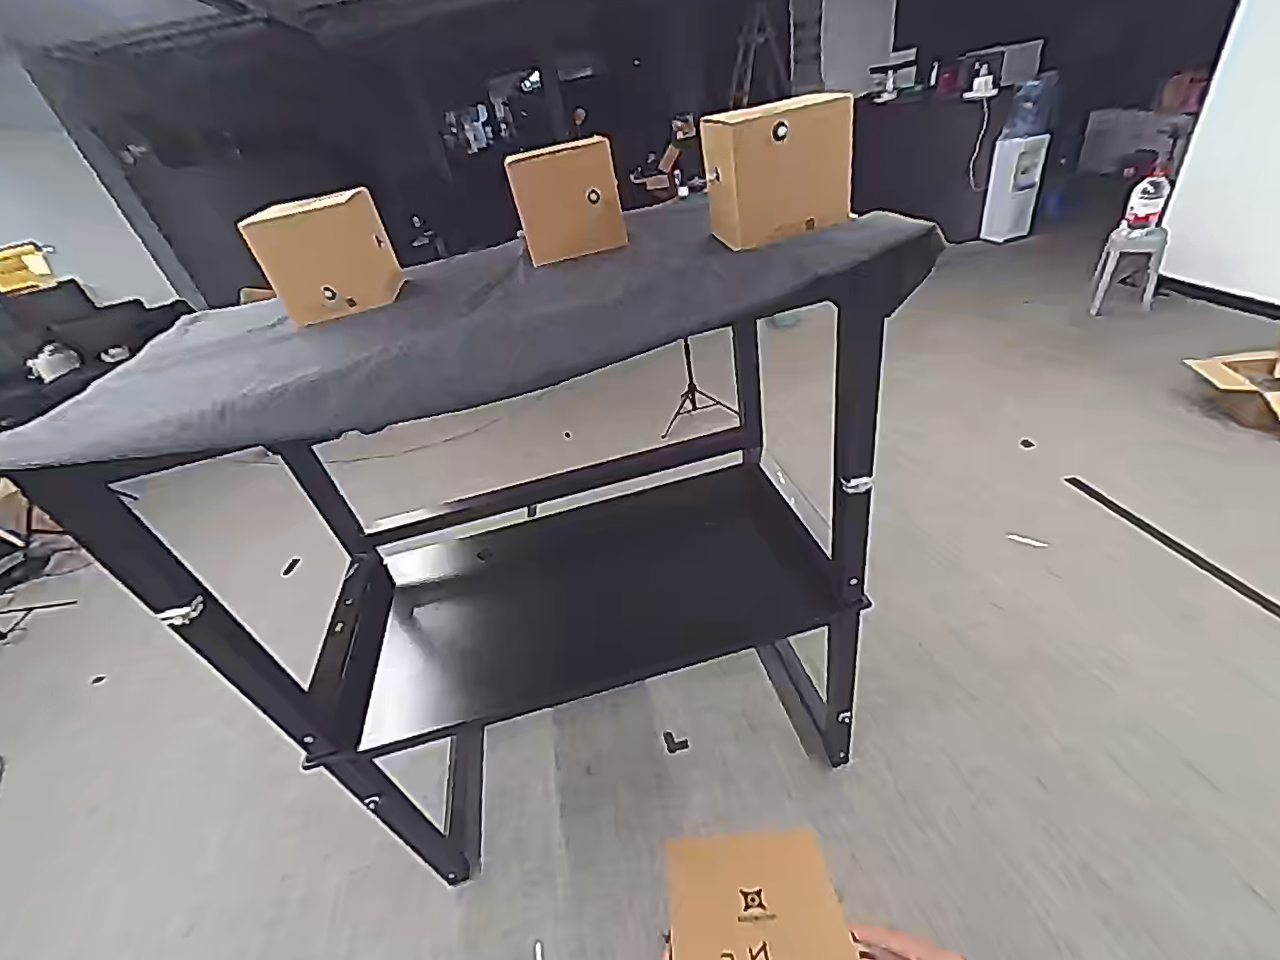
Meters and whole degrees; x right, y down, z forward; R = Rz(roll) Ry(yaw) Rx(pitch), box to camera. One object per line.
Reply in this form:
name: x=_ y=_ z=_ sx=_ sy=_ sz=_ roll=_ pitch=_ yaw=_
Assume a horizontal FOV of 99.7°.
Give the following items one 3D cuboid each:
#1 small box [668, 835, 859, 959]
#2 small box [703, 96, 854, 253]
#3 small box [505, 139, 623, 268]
small box: x=0.117 y=0.495 z=0.530 sx=0.168 sy=0.176 sz=0.179 roll=-6 pitch=12 yaw=0
small box: x=0.199 y=-0.451 z=0.806 sx=0.168 sy=0.176 sz=0.179 roll=-14 pitch=34 yaw=0
small box: x=-0.133 y=-0.504 z=0.983 sx=0.179 sy=0.176 sz=0.168 roll=-14 pitch=35 yaw=-3
